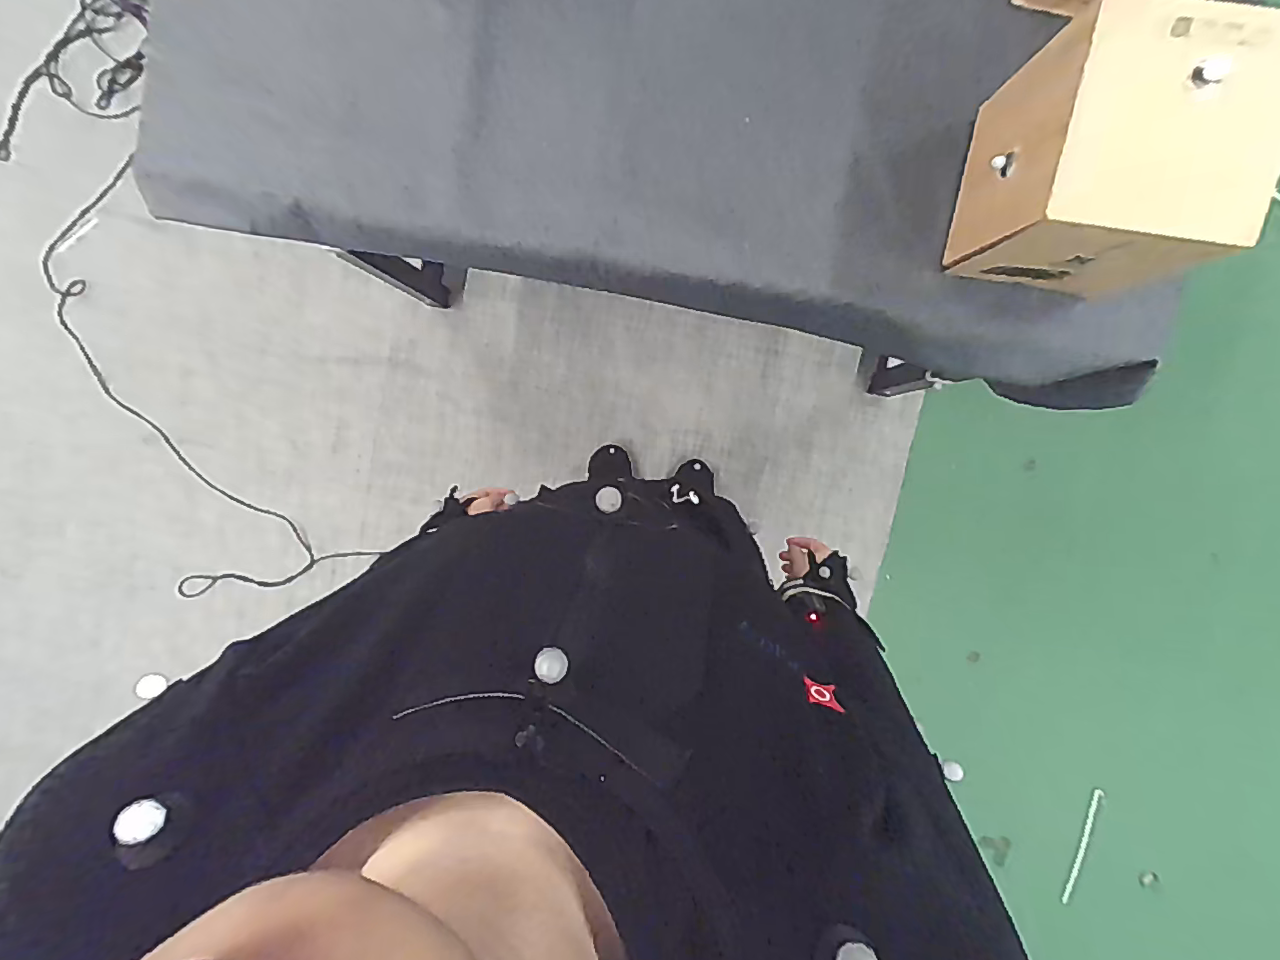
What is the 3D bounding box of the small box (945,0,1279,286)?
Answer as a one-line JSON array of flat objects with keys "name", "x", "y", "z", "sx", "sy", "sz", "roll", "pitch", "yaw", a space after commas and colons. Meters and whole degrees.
[{"name": "small box", "x": 0.422, "y": -0.293, "z": 0.497, "sx": 0.168, "sy": 0.179, "sz": 0.176, "roll": 9, "pitch": 99, "yaw": 2}]
